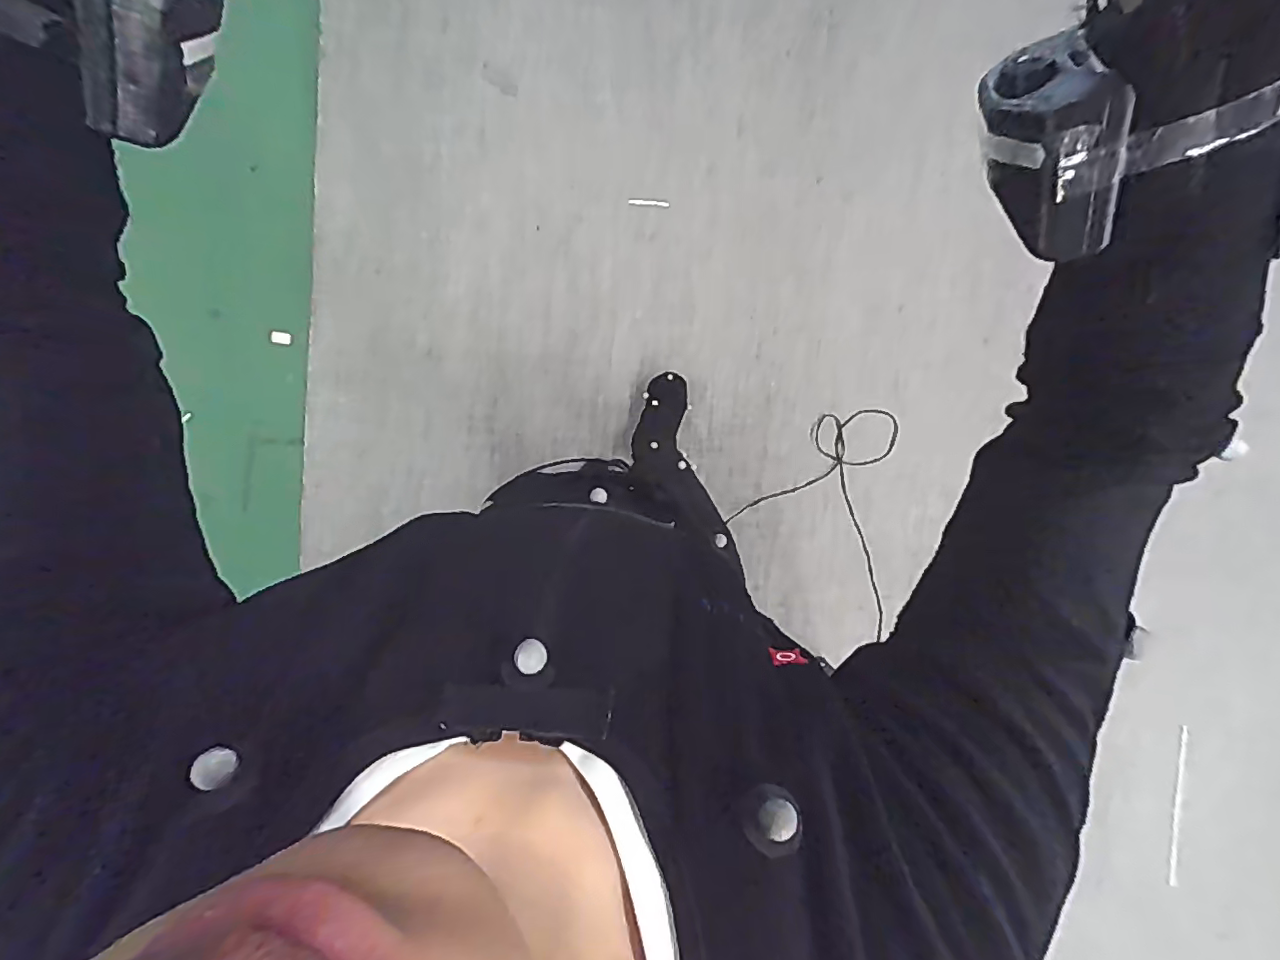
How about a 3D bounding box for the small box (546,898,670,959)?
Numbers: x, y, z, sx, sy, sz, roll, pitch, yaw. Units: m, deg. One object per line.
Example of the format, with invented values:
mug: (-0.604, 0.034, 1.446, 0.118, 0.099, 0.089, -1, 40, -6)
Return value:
small box: (-0.050, 0.704, 0.706, 0.168, 0.176, 0.179, 9, 93, -3)
